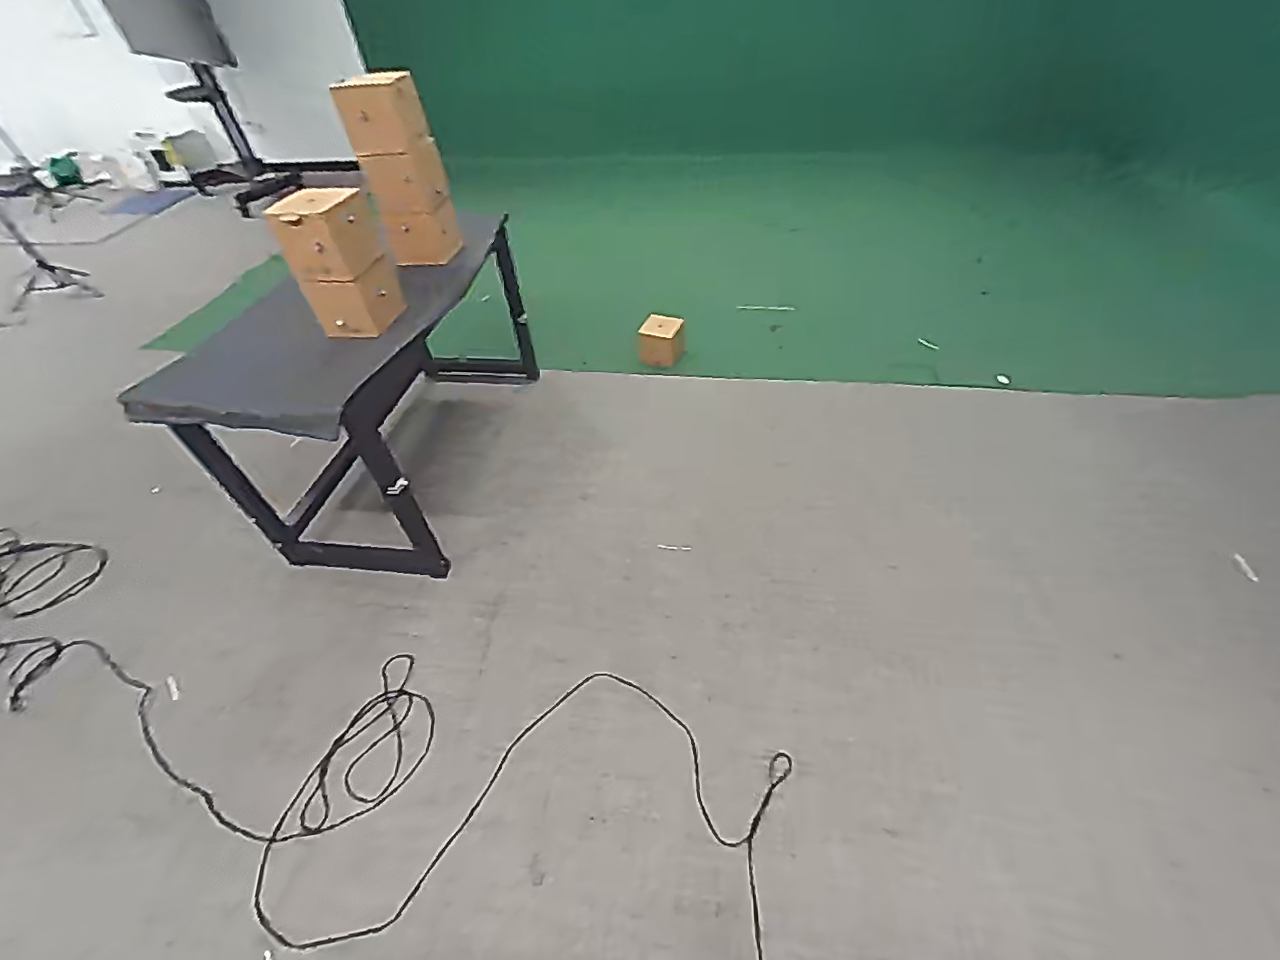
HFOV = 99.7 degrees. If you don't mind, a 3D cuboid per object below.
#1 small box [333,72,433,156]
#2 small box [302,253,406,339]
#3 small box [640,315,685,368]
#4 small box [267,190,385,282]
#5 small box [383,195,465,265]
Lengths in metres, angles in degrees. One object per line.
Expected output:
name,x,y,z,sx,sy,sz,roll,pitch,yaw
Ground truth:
small box,-0.733,-1.056,1.565,0.179,0.176,0.168,0,47,7
small box,-0.777,-0.511,1.497,0.168,0.176,0.179,4,47,10
small box,0.113,-0.659,2.588,0.168,0.176,0.179,17,49,19
small box,-0.786,-0.621,1.378,0.168,0.176,0.179,6,46,9
small box,-0.709,-0.829,1.801,0.179,0.176,0.168,3,46,9
